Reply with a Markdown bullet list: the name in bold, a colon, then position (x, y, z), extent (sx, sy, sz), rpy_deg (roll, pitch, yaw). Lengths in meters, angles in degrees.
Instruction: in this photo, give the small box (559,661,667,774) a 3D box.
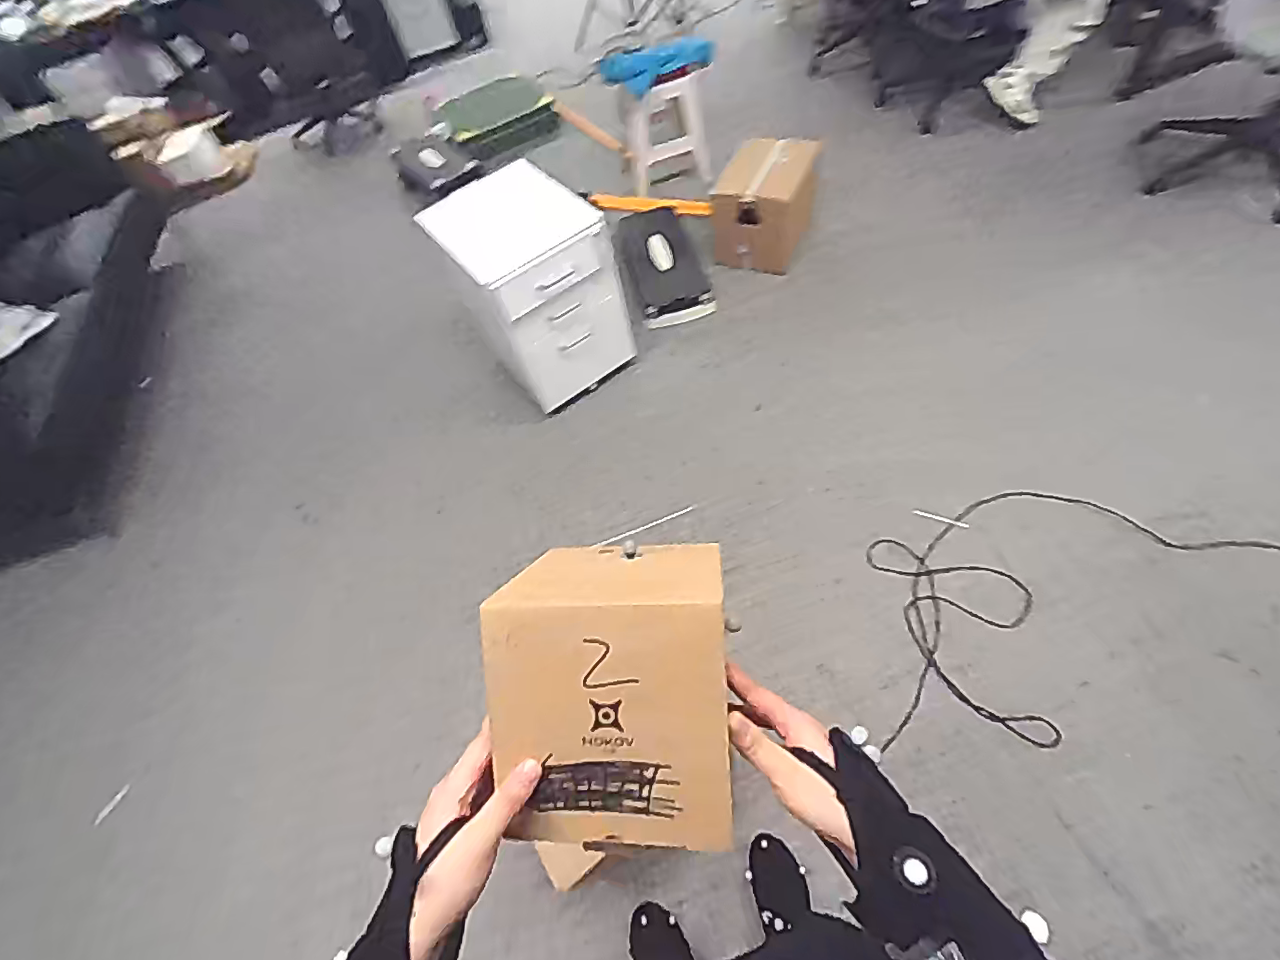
- **small box**: position (-0.040, 0.444, 1.007), extent (0.168, 0.176, 0.179), rpy_deg (-2, 59, 9)
